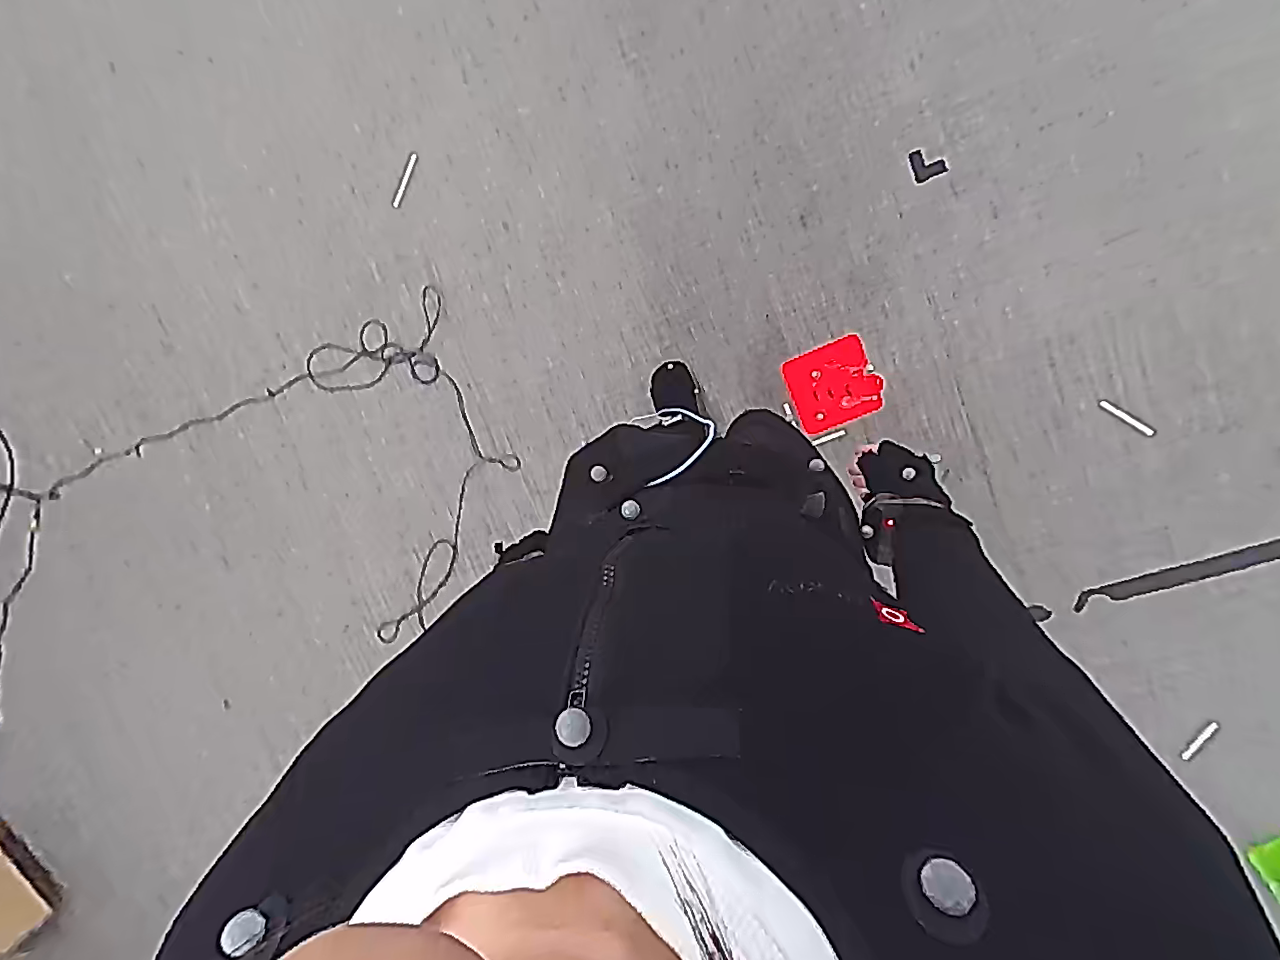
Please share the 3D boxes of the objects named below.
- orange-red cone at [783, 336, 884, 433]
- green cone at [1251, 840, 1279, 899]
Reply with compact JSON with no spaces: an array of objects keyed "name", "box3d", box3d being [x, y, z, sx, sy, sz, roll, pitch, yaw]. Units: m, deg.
[{"name":"orange-red cone","box3d":[0.450,-0.204,1.161,0.199,0.360,0.198,-21,97,9]},{"name":"green cone","box3d":[1.672,1.009,1.204,0.202,0.368,0.200,-36,93,13]}]
